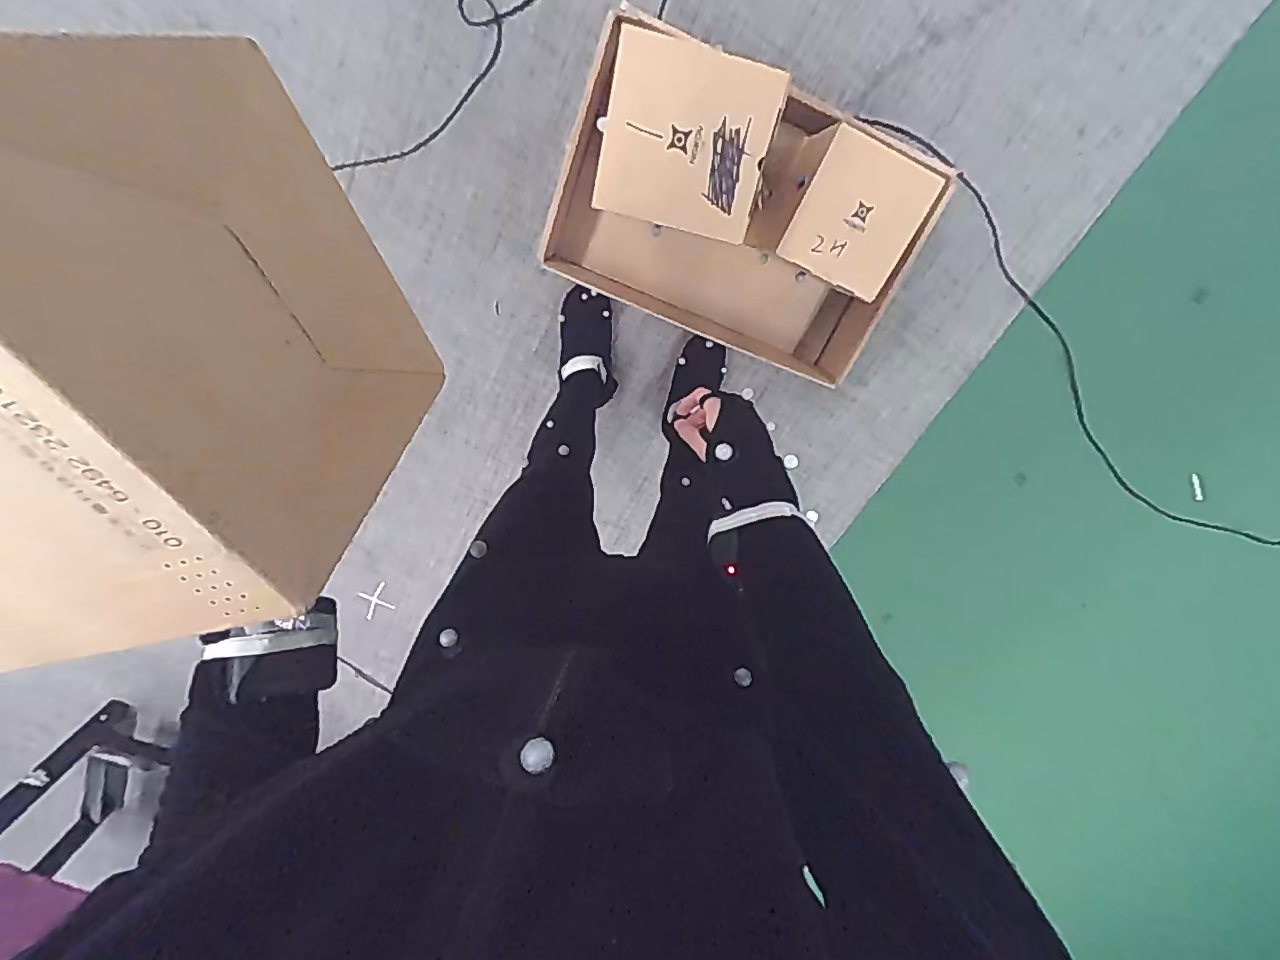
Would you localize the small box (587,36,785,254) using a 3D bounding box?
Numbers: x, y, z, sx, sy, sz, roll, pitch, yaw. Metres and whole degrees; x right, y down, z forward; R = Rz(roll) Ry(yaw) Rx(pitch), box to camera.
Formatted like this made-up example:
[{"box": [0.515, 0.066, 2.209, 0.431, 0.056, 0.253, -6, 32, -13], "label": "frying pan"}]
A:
[{"box": [0.043, -0.381, 0.639, 0.179, 0.176, 0.168, 12, 116, -6], "label": "small box"}]

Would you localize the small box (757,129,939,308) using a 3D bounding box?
[{"box": [0.294, -0.386, 0.813, 0.168, 0.176, 0.179, 22, 115, -9], "label": "small box"}]

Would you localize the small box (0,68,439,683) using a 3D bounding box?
[{"box": [-0.218, -0.044, 0.226, 0.176, 0.179, 0.168, -11, 128, 12], "label": "small box"}]
